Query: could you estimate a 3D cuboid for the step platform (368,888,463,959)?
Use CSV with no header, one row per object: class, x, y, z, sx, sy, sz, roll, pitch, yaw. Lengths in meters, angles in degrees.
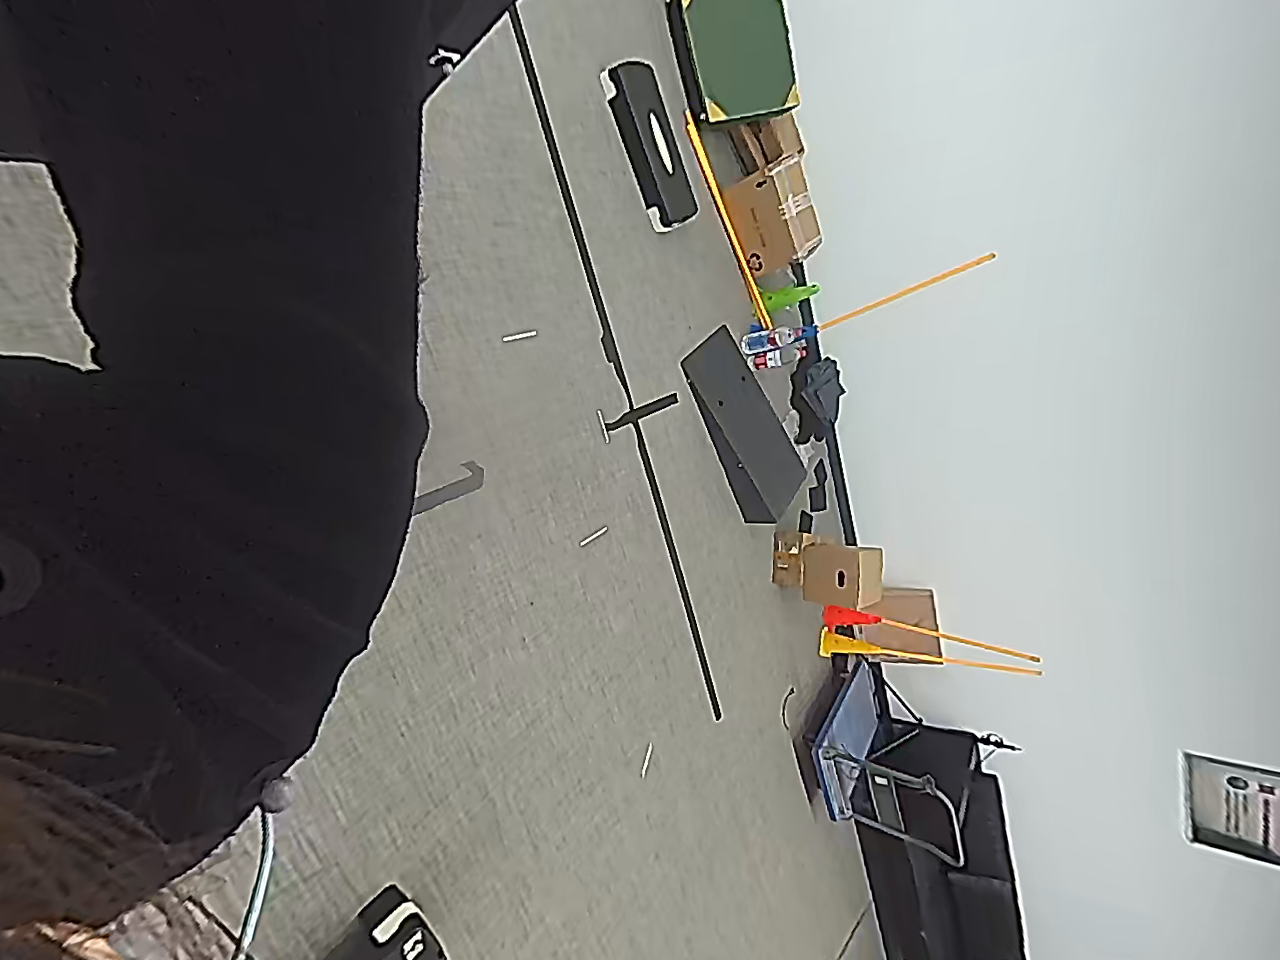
step platform,-0.745,1.342,1.245,0.684,0.204,0.286,-22,104,-48
